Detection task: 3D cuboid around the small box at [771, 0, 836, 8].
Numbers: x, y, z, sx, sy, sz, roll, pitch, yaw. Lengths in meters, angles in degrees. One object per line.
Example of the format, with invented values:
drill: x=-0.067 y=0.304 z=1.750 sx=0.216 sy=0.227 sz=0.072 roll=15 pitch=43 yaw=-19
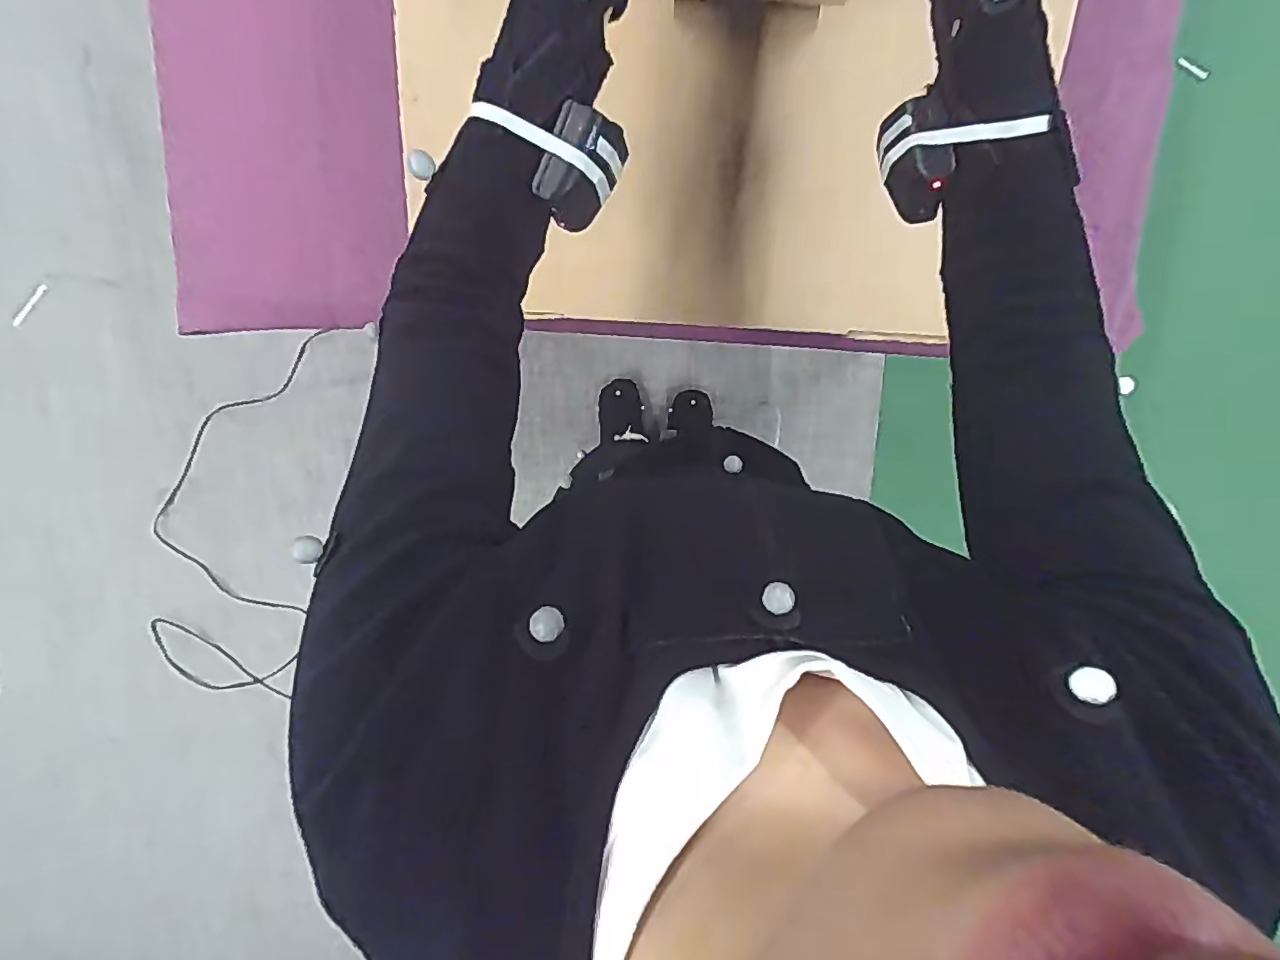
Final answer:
small box: x=0.101 y=-0.480 z=0.365 sx=0.168 sy=0.176 sz=0.179 roll=3 pitch=101 yaw=-2
